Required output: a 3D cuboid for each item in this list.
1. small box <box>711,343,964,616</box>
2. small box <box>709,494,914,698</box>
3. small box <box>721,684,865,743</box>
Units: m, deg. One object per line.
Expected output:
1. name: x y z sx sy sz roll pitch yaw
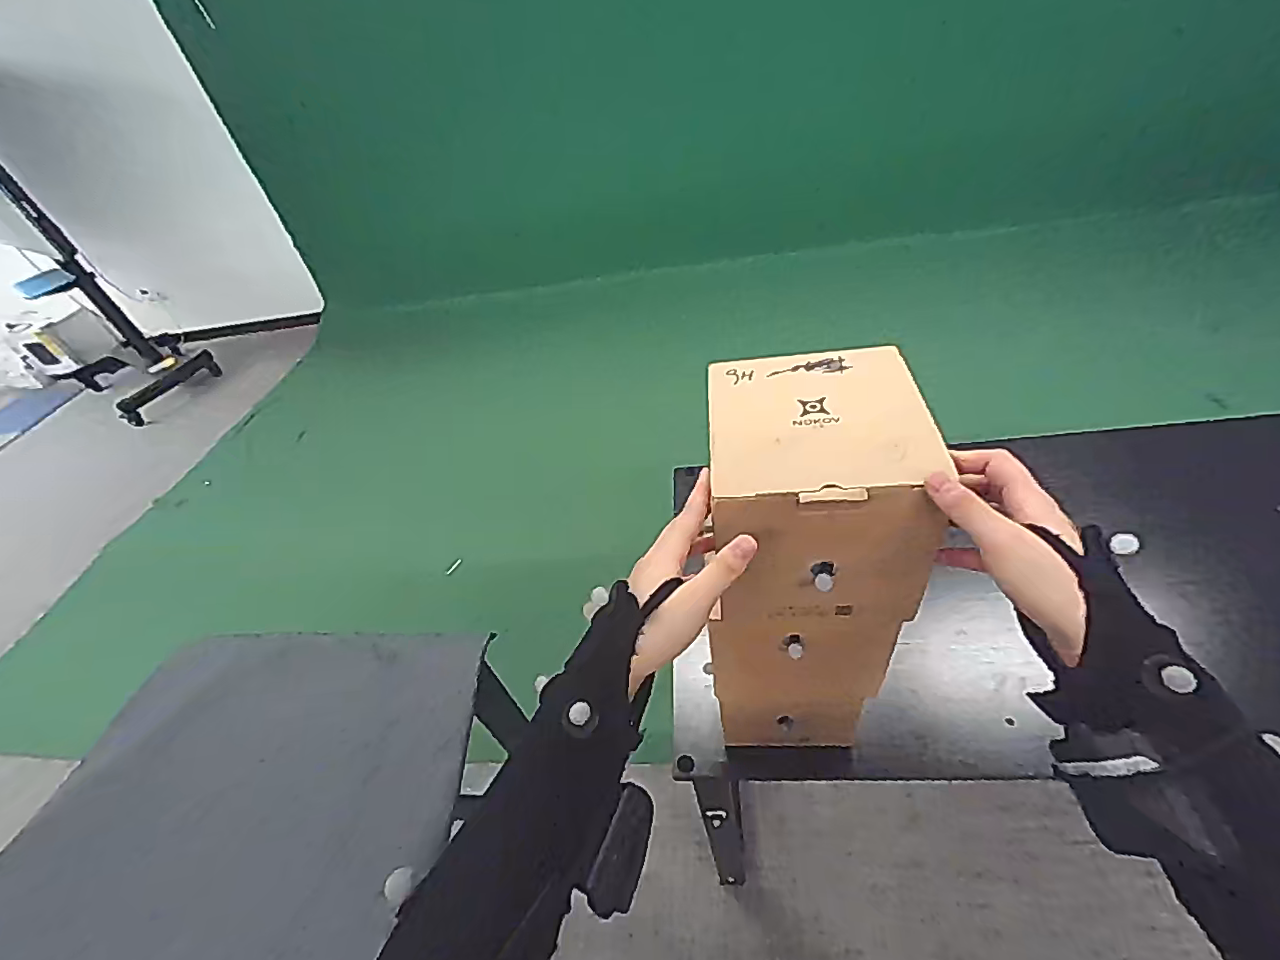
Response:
1. small box: 0.152 0.007 0.475 0.168 0.176 0.179 -4 45 10
2. small box: 0.169 0.123 0.589 0.179 0.176 0.168 -5 44 9
3. small box: 0.191 0.229 0.712 0.168 0.176 0.179 -4 43 9
